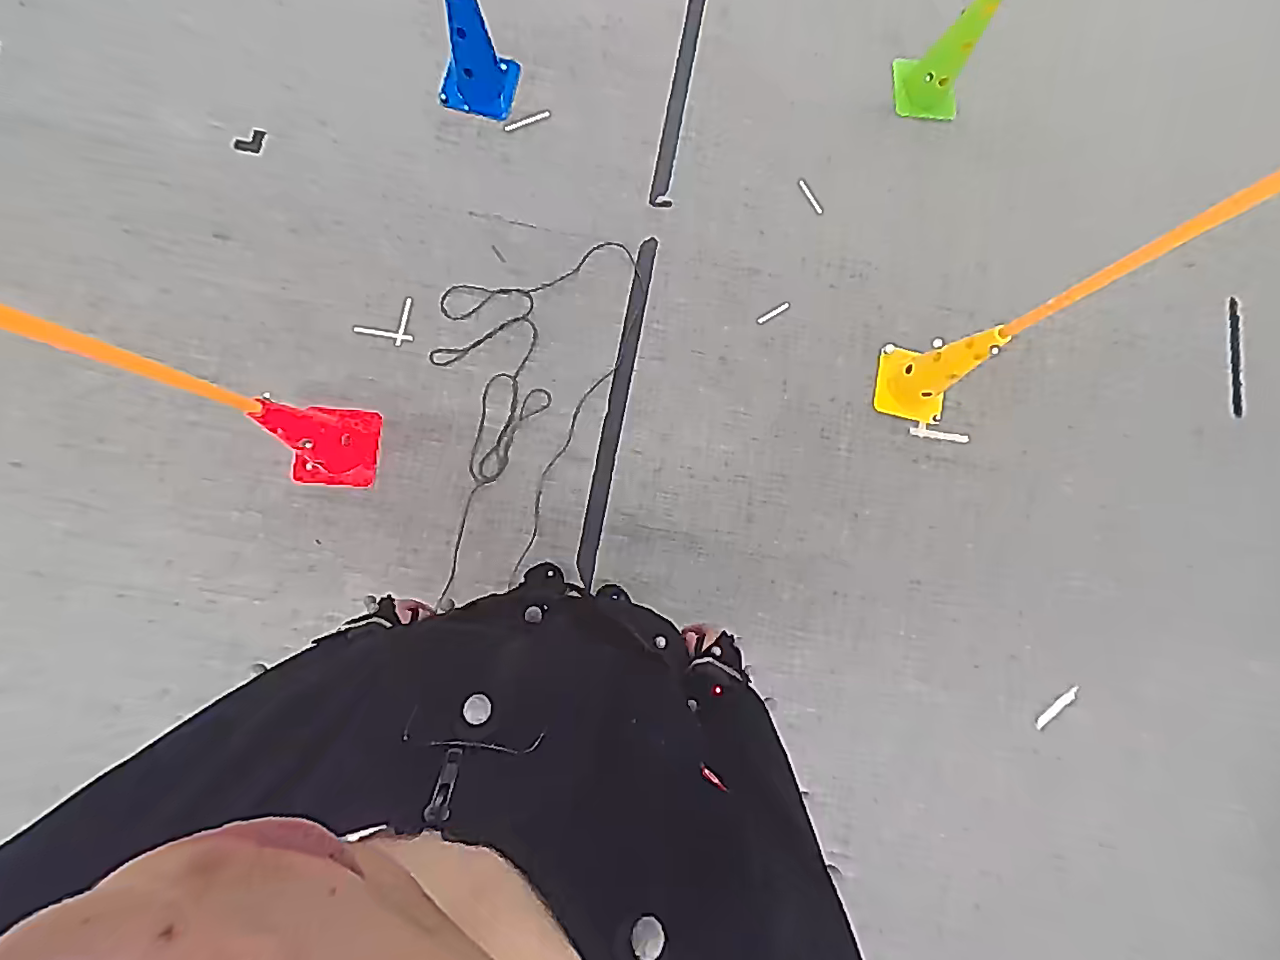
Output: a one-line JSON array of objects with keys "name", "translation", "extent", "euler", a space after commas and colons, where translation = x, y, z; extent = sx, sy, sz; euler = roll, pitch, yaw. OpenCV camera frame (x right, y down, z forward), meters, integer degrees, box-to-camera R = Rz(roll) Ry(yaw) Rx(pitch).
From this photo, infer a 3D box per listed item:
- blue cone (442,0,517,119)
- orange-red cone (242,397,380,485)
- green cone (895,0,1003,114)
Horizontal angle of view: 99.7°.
[{"name": "blue cone", "translation": [-0.447, -1.166, 1.396], "extent": [0.193, 0.380, 0.192], "euler": [13, 81, -3]}, {"name": "orange-red cone", "translation": [-0.749, -0.116, 1.193], "extent": [0.199, 0.360, 0.198], "euler": [6, 81, -6]}, {"name": "green cone", "translation": [0.909, -1.261, 1.519], "extent": [0.200, 0.368, 0.202], "euler": [0, 83, -5]}]
